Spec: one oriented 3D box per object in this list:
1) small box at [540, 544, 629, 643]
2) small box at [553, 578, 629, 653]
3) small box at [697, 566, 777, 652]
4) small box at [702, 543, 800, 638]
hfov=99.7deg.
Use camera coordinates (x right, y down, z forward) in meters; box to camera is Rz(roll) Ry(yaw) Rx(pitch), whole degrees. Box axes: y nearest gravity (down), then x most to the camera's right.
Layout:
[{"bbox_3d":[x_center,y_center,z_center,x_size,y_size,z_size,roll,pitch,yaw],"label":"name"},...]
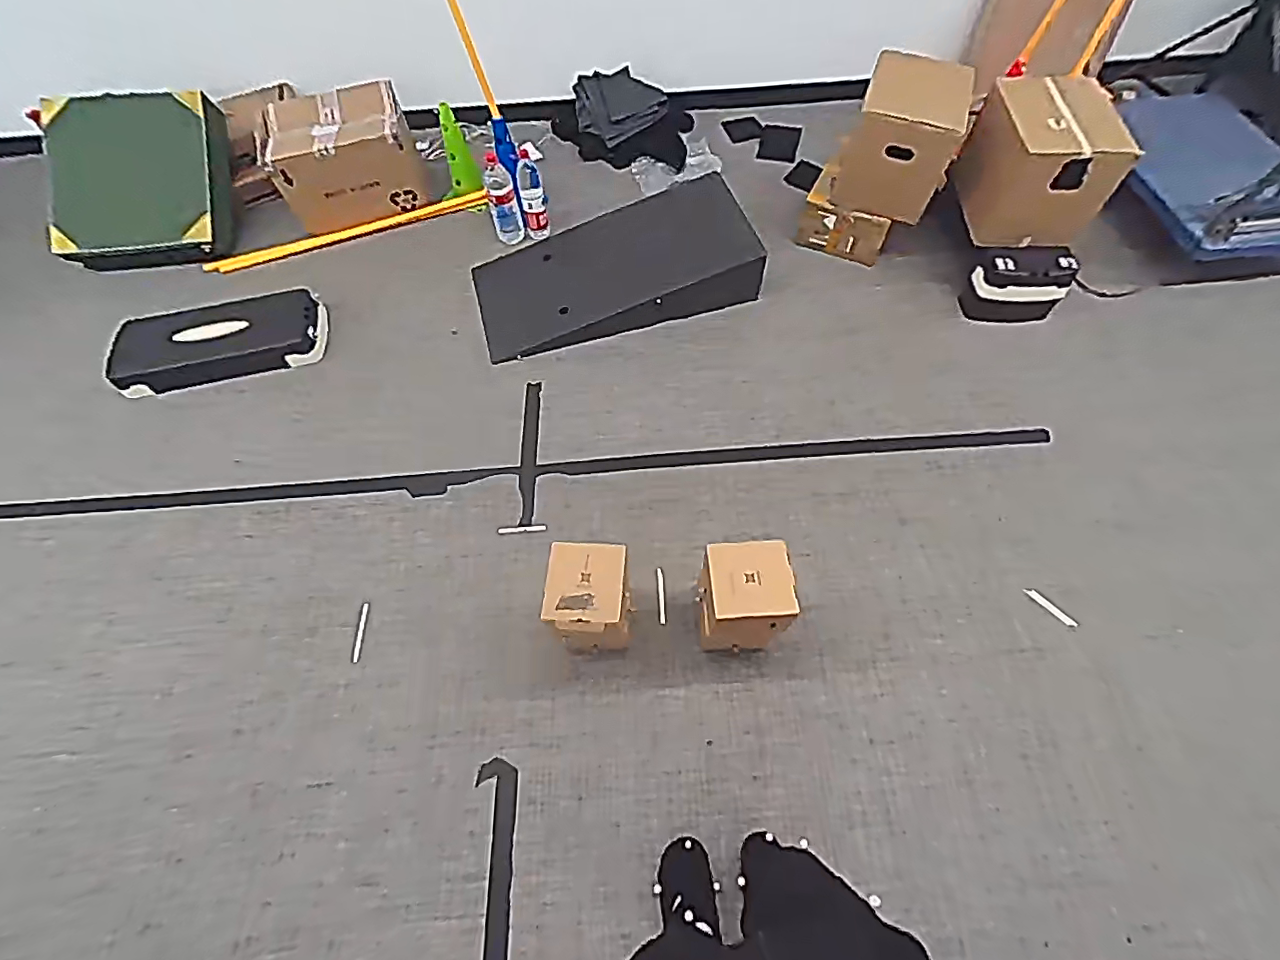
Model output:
[{"bbox_3d":[-0.115,0.257,1.203,0.168,0.176,0.179,3,61,3],"label":"small box"},{"bbox_3d":[-0.115,0.331,1.351,0.179,0.176,0.168,-1,61,0],"label":"small box"},{"bbox_3d":[0.233,0.322,1.345,0.168,0.176,0.179,-2,61,1],"label":"small box"},{"bbox_3d":[0.236,0.248,1.199,0.179,0.176,0.168,-3,60,0],"label":"small box"}]
